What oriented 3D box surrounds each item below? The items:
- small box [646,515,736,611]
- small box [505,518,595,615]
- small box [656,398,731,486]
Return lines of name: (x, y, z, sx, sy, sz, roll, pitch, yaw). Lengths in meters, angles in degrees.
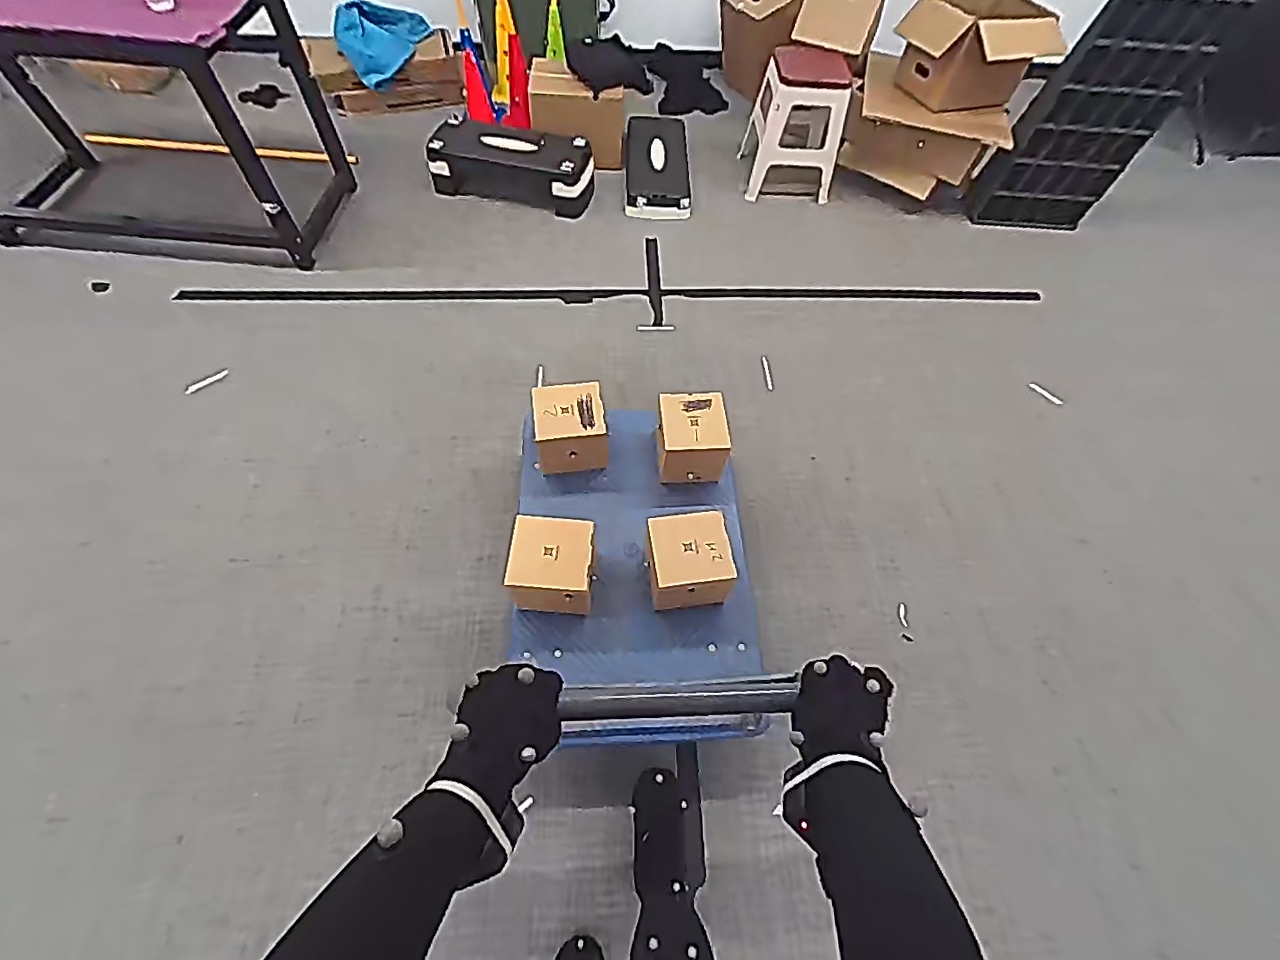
small box: (0.109, 0.199, 1.261, 0.179, 0.176, 0.168, -5, 61, -6)
small box: (-0.198, 0.203, 1.239, 0.179, 0.176, 0.168, 5, 59, -2)
small box: (0.135, -0.099, 1.434, 0.168, 0.176, 0.179, -2, 61, -4)
